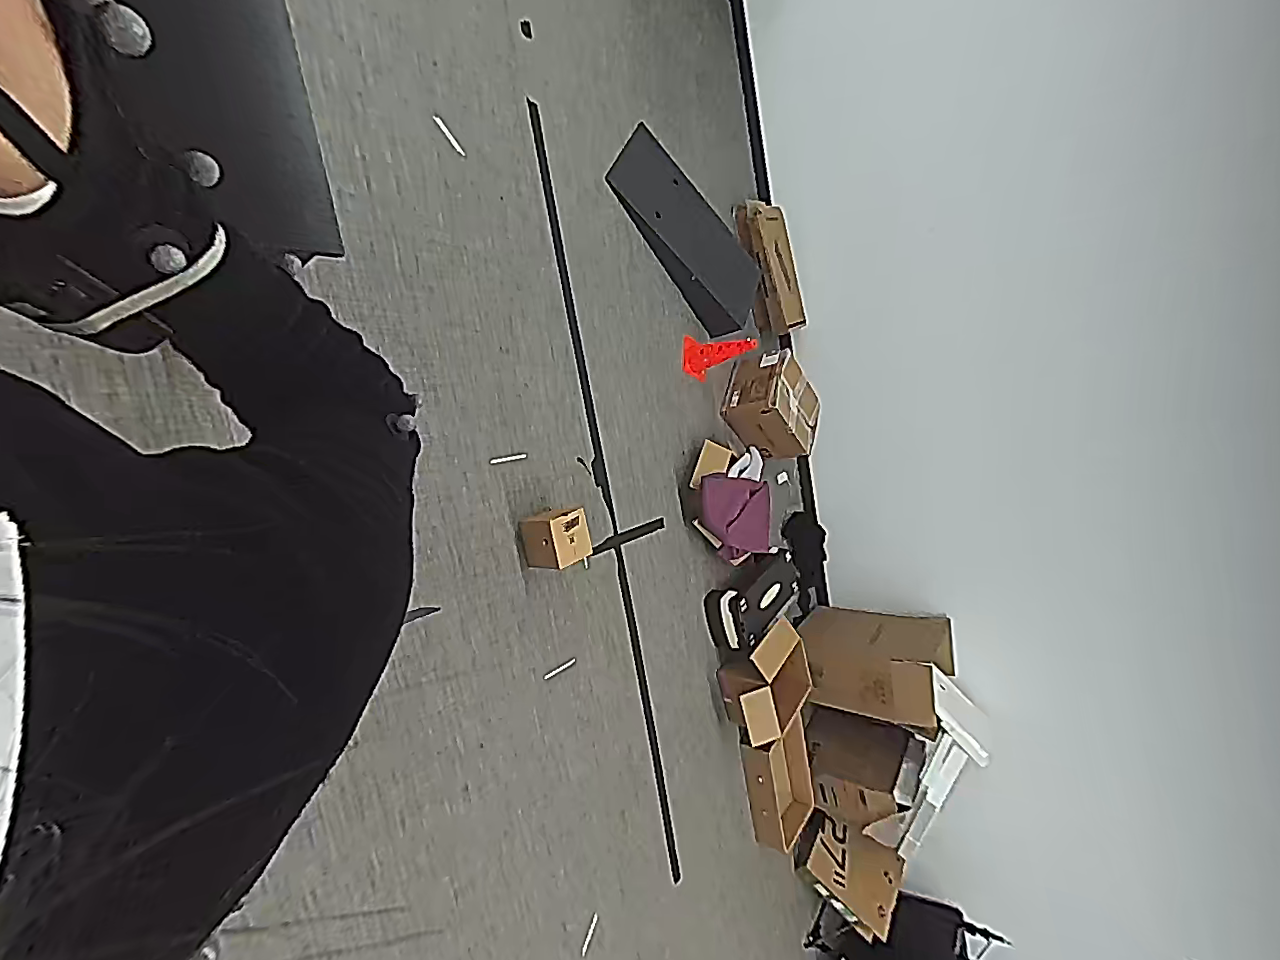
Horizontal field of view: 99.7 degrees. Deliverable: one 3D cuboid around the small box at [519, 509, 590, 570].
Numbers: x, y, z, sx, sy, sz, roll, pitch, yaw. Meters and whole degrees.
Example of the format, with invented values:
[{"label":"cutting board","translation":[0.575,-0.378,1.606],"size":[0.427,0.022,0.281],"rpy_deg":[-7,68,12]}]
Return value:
[{"label":"small box","translation":[-0.306,0.207,1.910],"size":[0.168,0.176,0.179],"rpy_deg":[-21,103,-49]}]
